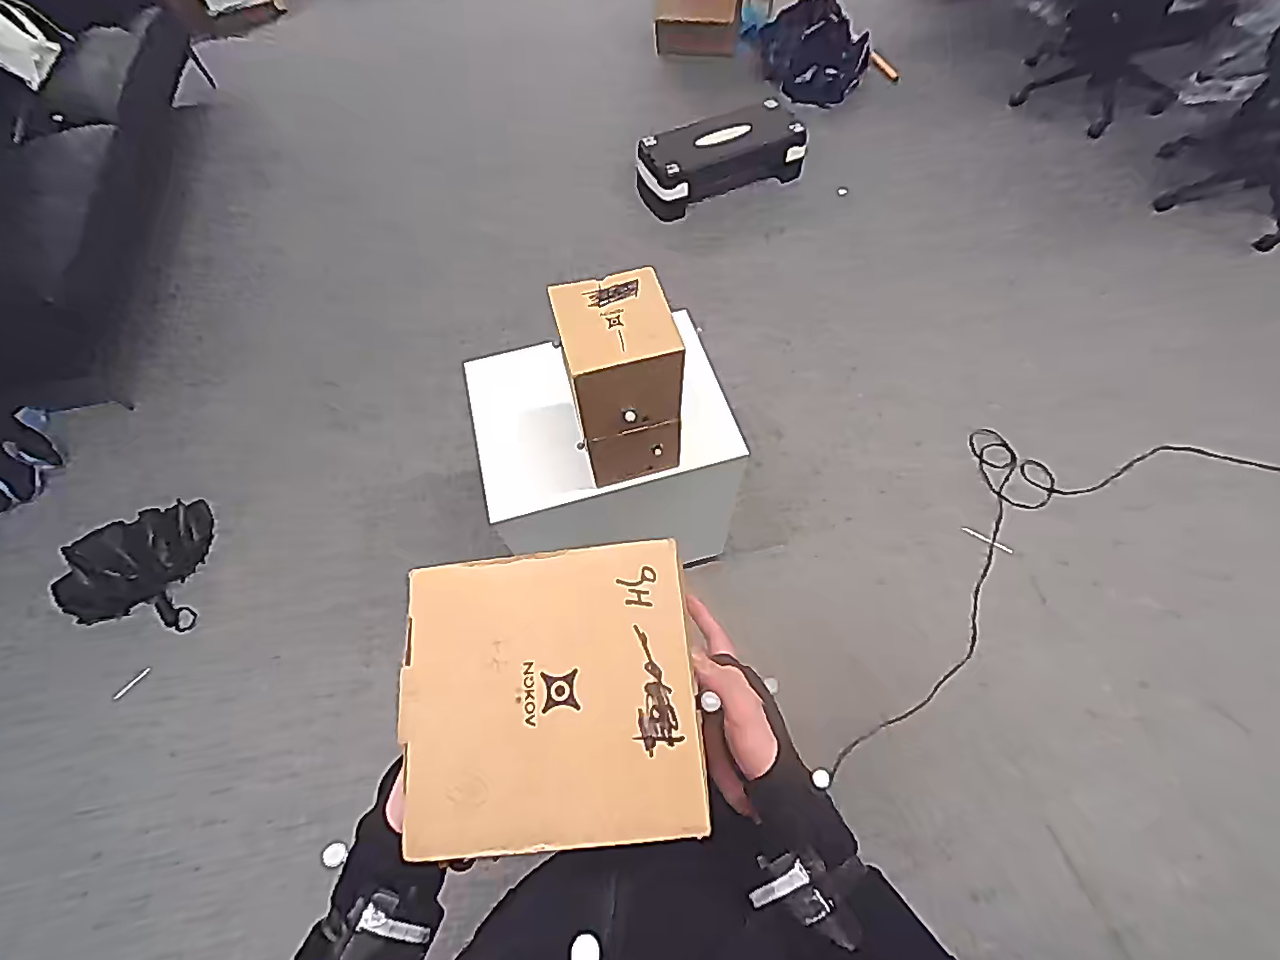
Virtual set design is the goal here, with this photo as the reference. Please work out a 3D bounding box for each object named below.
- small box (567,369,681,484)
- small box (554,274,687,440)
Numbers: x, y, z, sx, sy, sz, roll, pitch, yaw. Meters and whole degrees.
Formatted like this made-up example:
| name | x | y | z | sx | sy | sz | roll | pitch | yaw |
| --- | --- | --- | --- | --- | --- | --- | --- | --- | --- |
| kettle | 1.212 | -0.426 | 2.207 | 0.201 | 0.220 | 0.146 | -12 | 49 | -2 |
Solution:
| name | x | y | z | sx | sy | sz | roll | pitch | yaw |
| --- | --- | --- | --- | --- | --- | --- | --- | --- | --- |
| small box | -0.027 | -0.110 | 1.000 | 0.168 | 0.176 | 0.179 | -15 | 61 | -7 |
| small box | -0.032 | -0.190 | 0.857 | 0.168 | 0.176 | 0.179 | -14 | 63 | -6 |
